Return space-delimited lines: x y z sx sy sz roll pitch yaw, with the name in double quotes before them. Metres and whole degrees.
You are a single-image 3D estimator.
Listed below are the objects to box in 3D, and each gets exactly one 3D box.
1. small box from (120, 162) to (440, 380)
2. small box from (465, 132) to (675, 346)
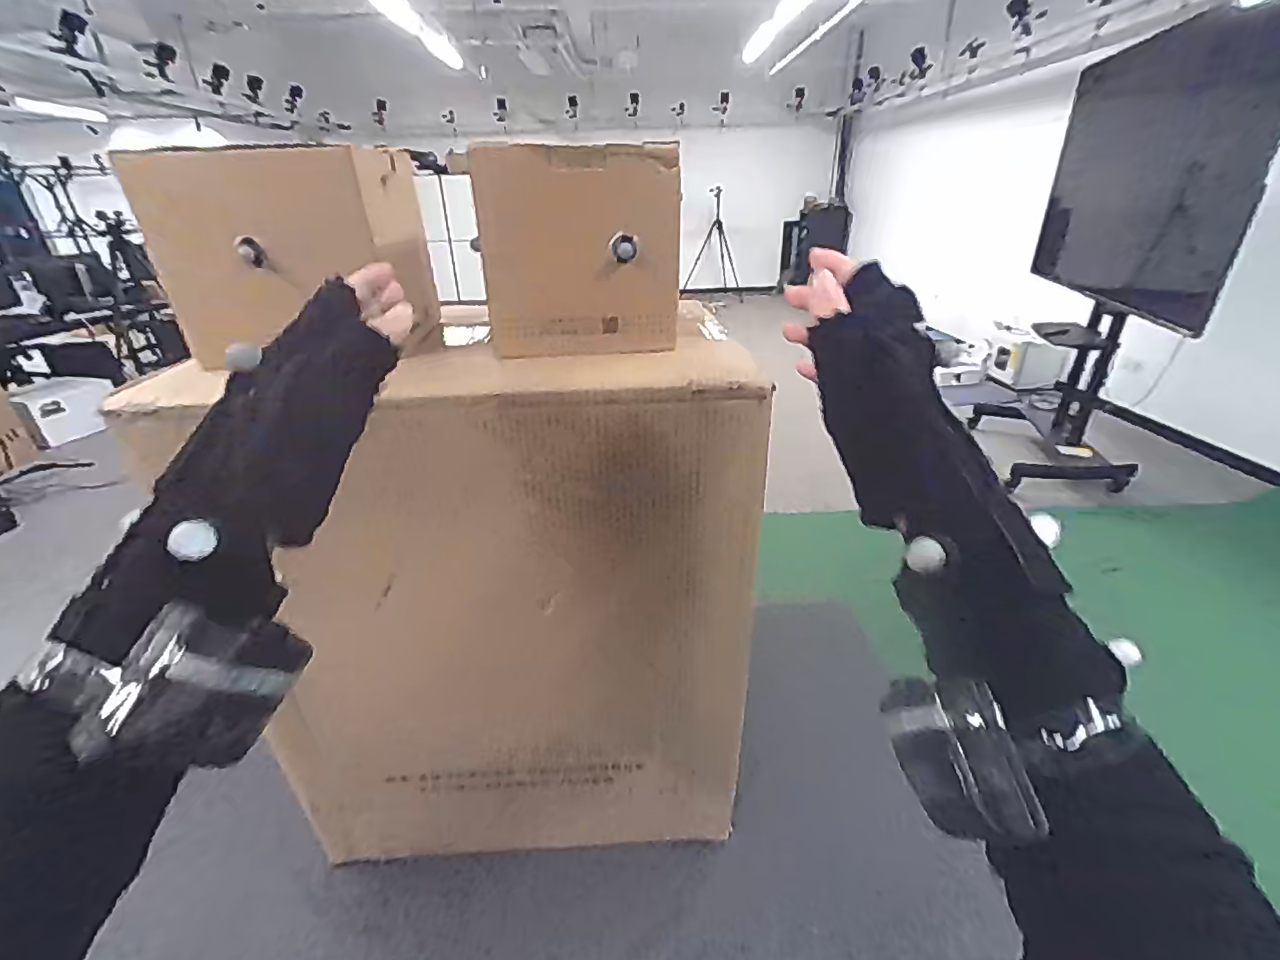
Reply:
"small box" -0.310 -0.204 0.519 0.179 0.176 0.168 -5 29 -3
"small box" -0.061 -0.232 0.522 0.168 0.176 0.179 -5 31 -8
